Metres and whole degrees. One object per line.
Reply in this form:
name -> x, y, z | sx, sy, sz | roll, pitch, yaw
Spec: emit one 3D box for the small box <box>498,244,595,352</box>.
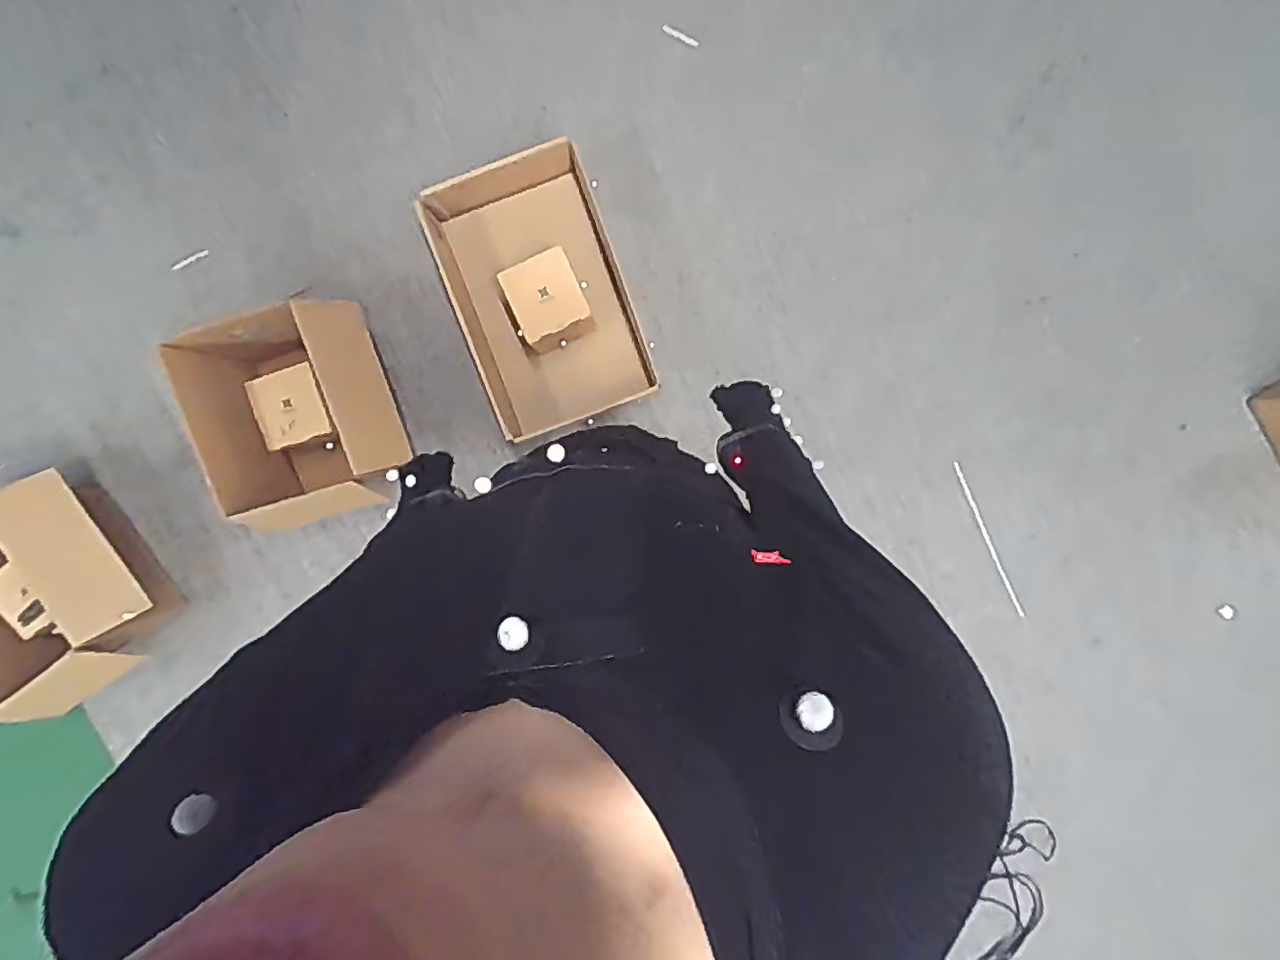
small box -> -0.220, -0.433, 1.314 | 0.168, 0.176, 0.179 | -25, 94, 2
